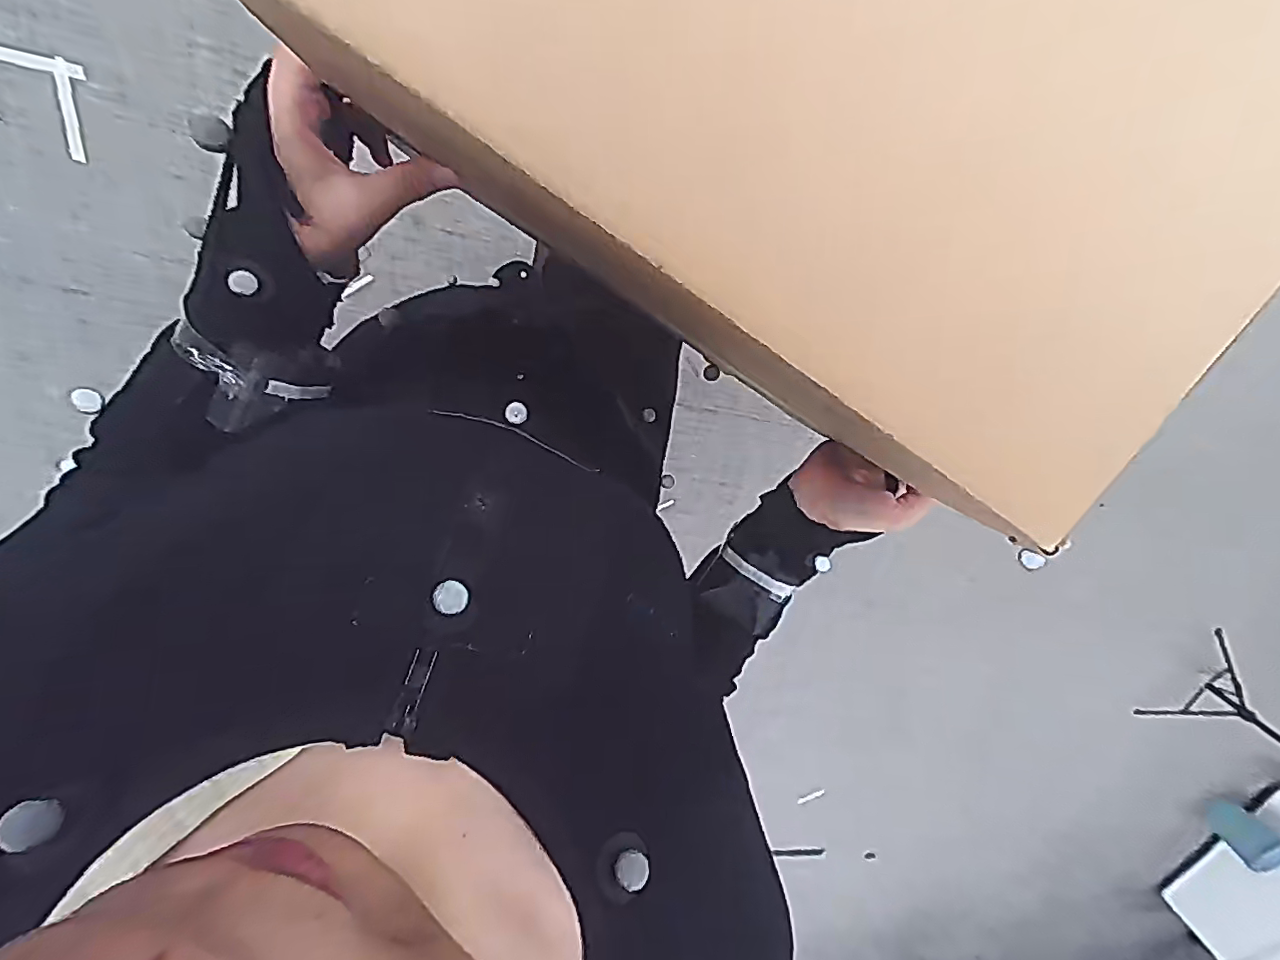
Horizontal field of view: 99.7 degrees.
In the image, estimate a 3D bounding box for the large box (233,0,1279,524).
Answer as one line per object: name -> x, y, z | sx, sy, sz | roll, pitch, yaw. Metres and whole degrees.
large box -> 0.088, -0.241, 0.305 | 0.408, 0.320, 0.320 | 27, 105, -19
